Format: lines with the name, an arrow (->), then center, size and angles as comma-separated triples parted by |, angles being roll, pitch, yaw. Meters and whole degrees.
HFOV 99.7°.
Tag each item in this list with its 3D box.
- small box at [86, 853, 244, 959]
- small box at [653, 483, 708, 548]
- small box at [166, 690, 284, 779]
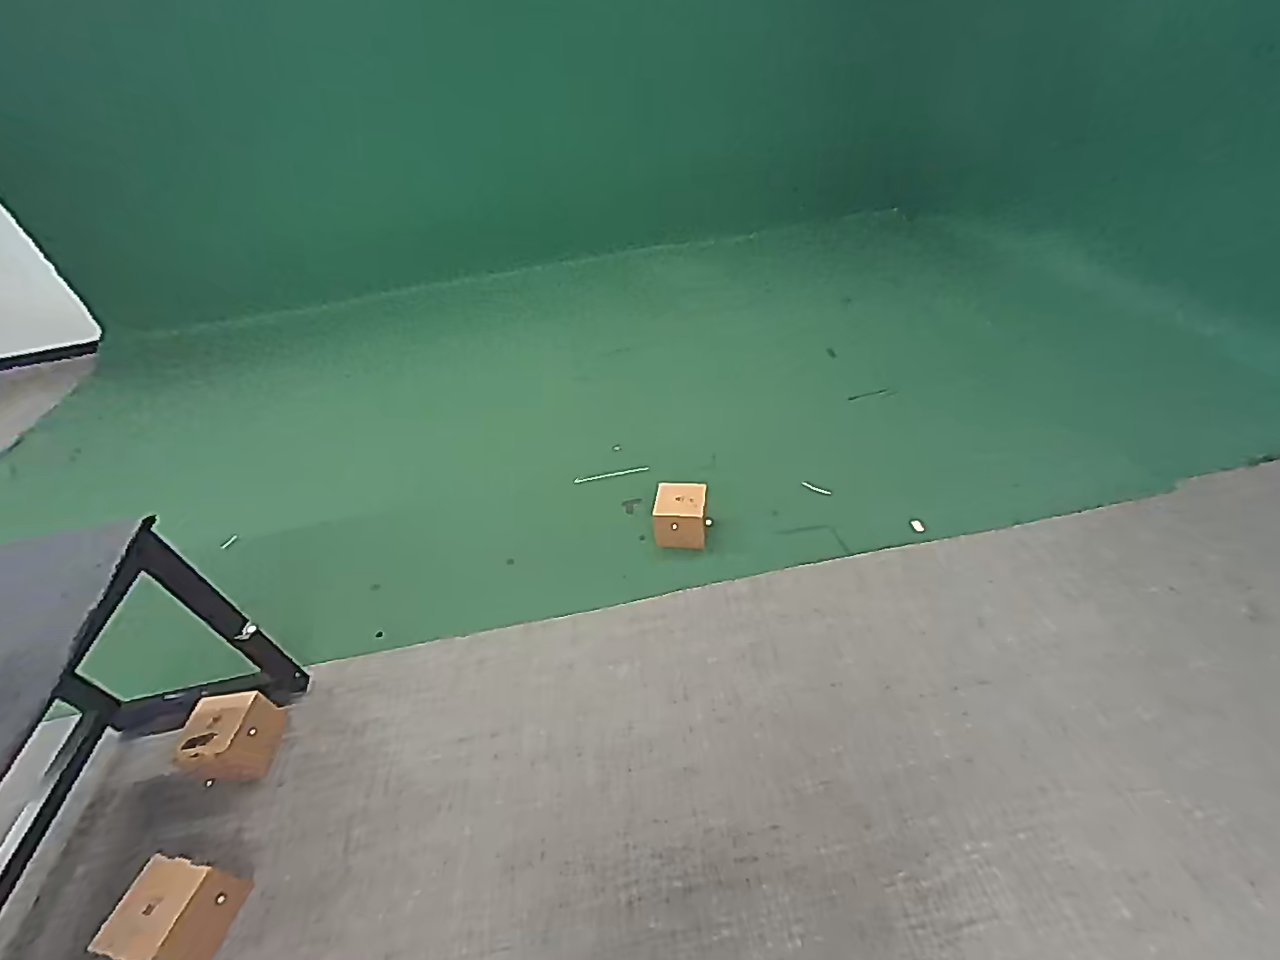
small box -> -1.040, 0.972, 1.209 | 0.168, 0.176, 0.179 | 2, 44, 13
small box -> 0.150, 0.129, 1.943 | 0.179, 0.176, 0.168 | 3, 43, 11
small box -> -1.142, 0.715, 1.507 | 0.168, 0.176, 0.179 | -7, 41, 1
